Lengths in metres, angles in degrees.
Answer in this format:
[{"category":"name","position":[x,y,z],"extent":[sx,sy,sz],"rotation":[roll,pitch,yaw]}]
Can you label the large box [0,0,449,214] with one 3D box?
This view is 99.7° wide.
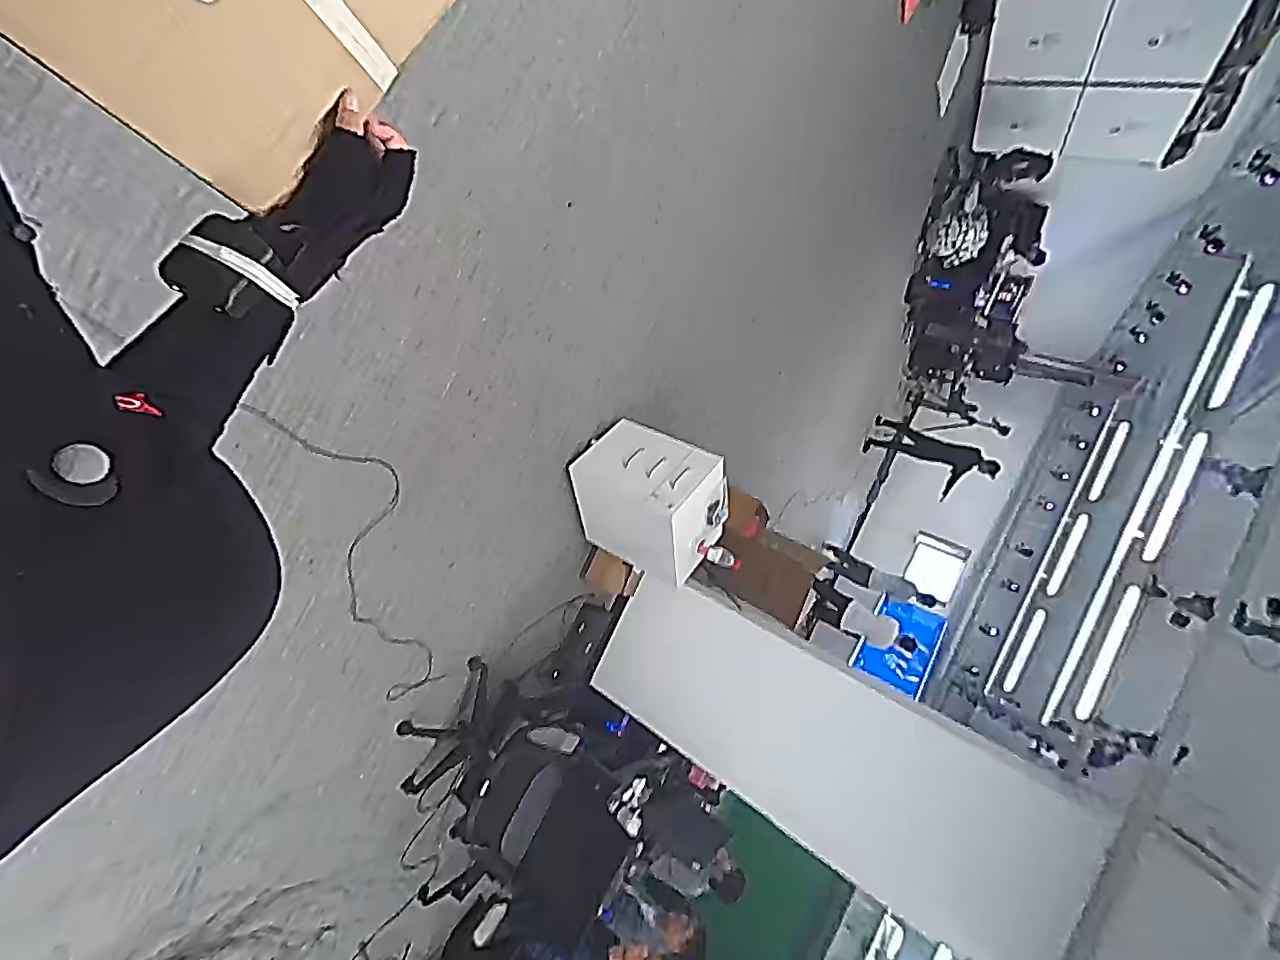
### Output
[{"category":"large box","position":[-0.396,-0.478,0.356],"extent":[0.320,0.320,0.408],"rotation":[-51,152,0]}]
